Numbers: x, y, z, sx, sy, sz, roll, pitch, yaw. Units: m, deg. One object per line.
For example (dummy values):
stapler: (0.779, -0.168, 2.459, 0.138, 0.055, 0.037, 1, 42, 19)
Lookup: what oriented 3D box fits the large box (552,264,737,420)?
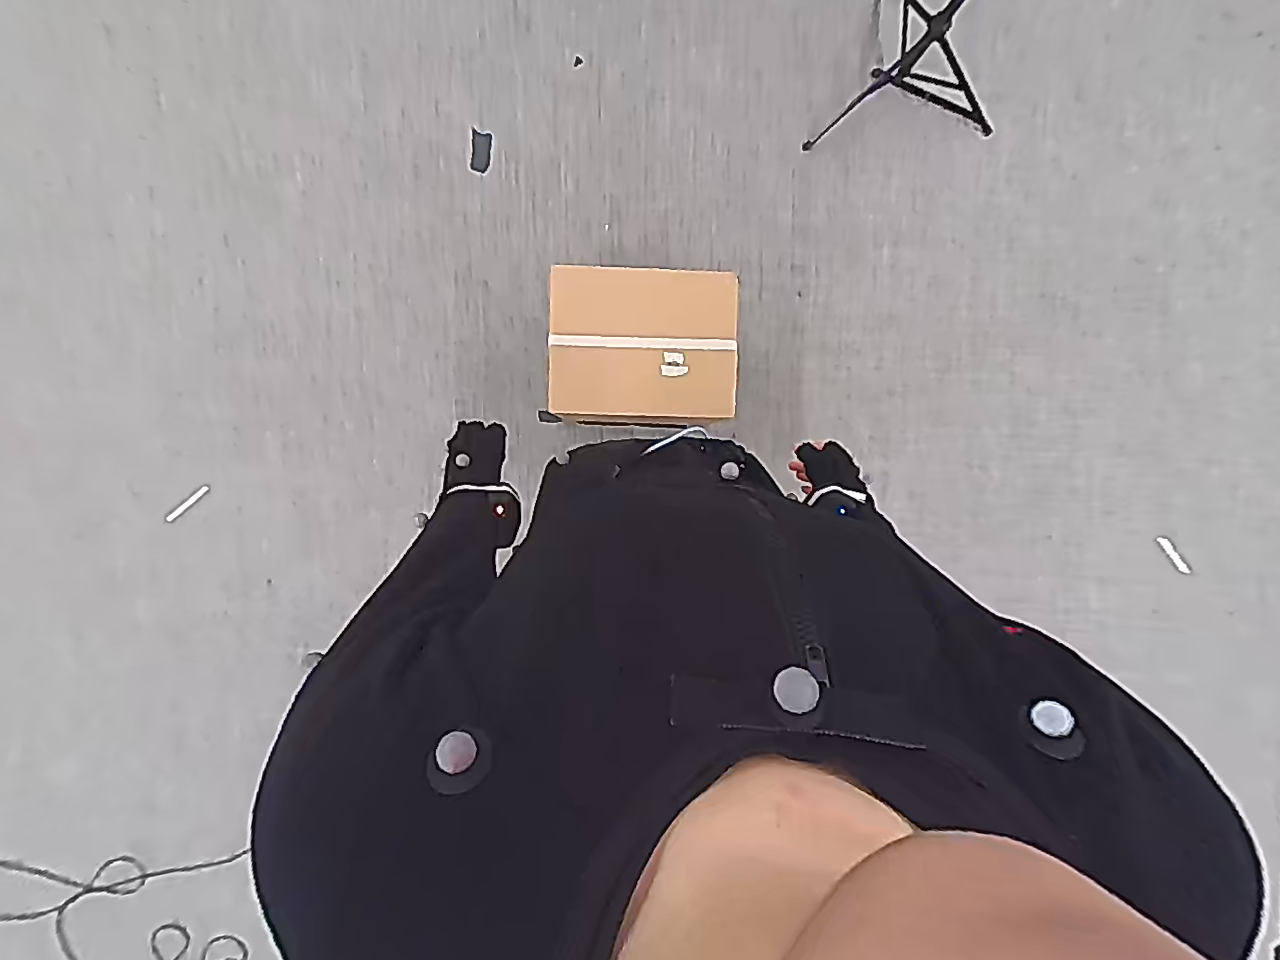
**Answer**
large box: (0.000, -0.311, 1.313, 0.408, 0.320, 0.320, 2, 94, -3)
